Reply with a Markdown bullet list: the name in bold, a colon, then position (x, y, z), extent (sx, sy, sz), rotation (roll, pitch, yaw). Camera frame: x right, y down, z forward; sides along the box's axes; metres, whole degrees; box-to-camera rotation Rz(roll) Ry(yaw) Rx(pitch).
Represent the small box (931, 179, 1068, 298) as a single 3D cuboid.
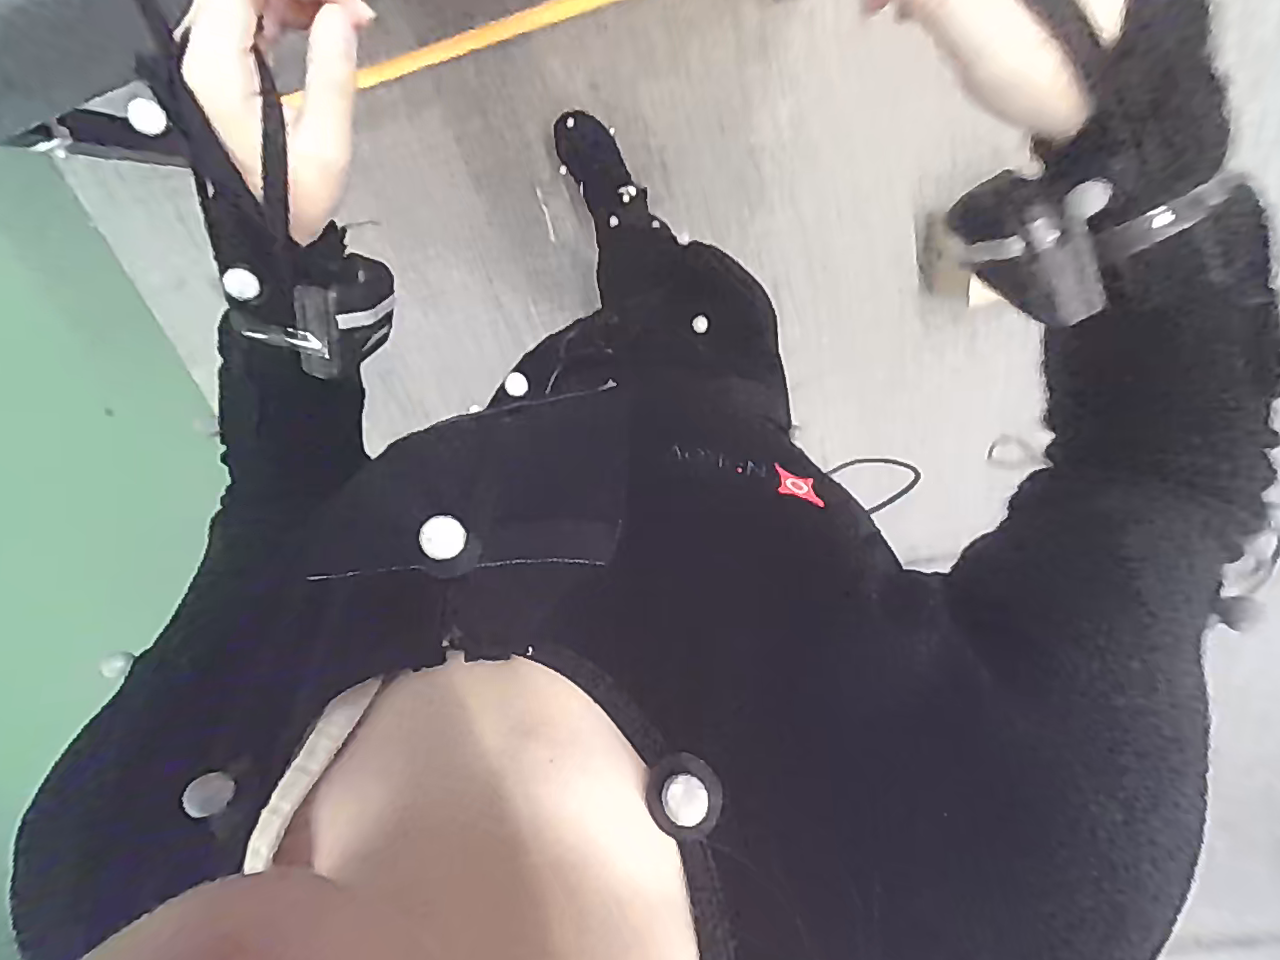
- **small box**: position (0.692, -0.475, 1.062), extent (0.168, 0.176, 0.179), rotation (-11, 115, 9)
